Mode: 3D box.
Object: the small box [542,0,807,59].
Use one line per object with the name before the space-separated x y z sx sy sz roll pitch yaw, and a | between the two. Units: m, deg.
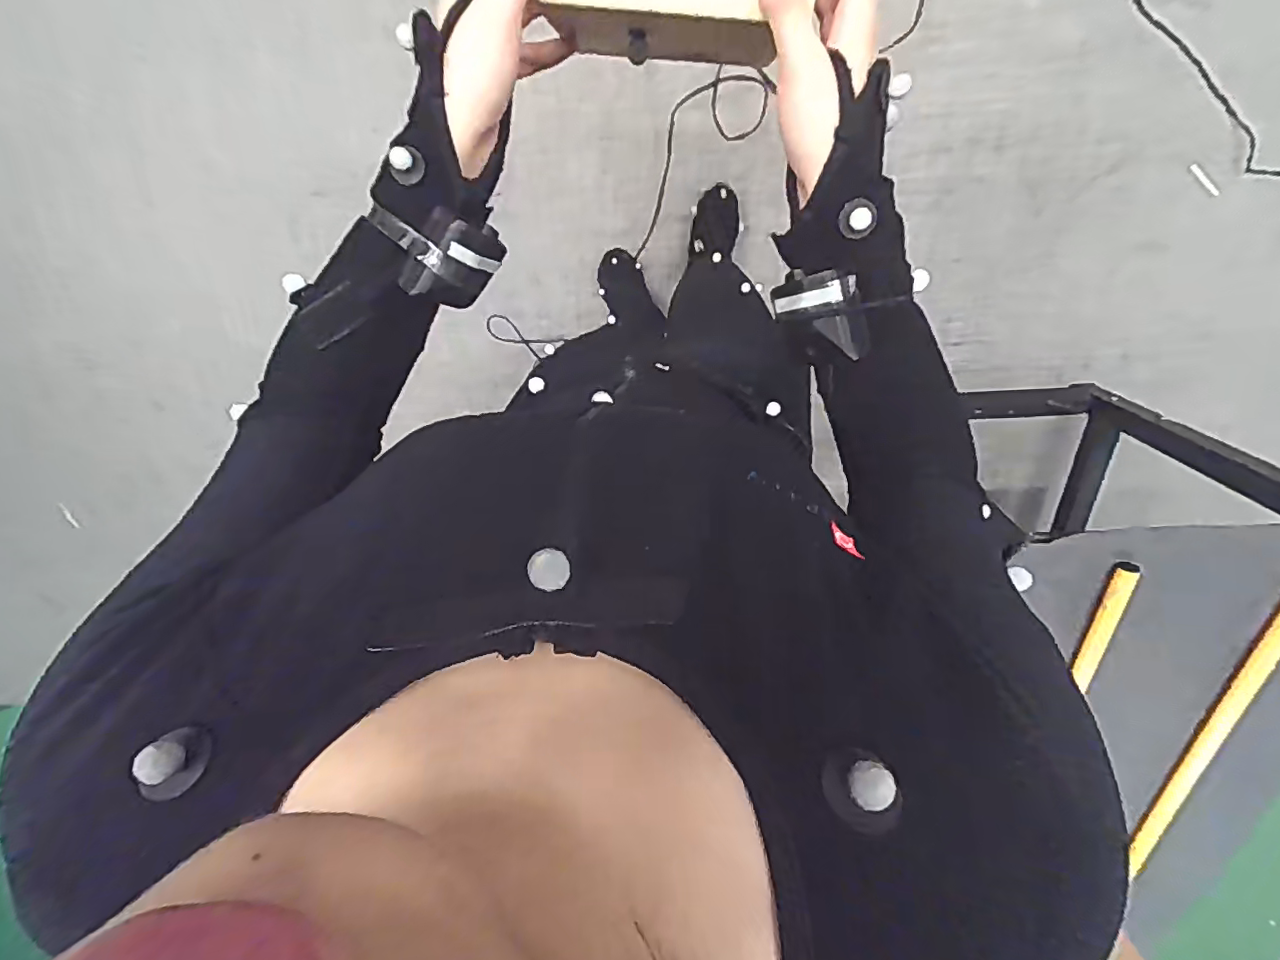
small box | 0.031 -0.392 0.343 0.168 0.176 0.179 5 118 2
